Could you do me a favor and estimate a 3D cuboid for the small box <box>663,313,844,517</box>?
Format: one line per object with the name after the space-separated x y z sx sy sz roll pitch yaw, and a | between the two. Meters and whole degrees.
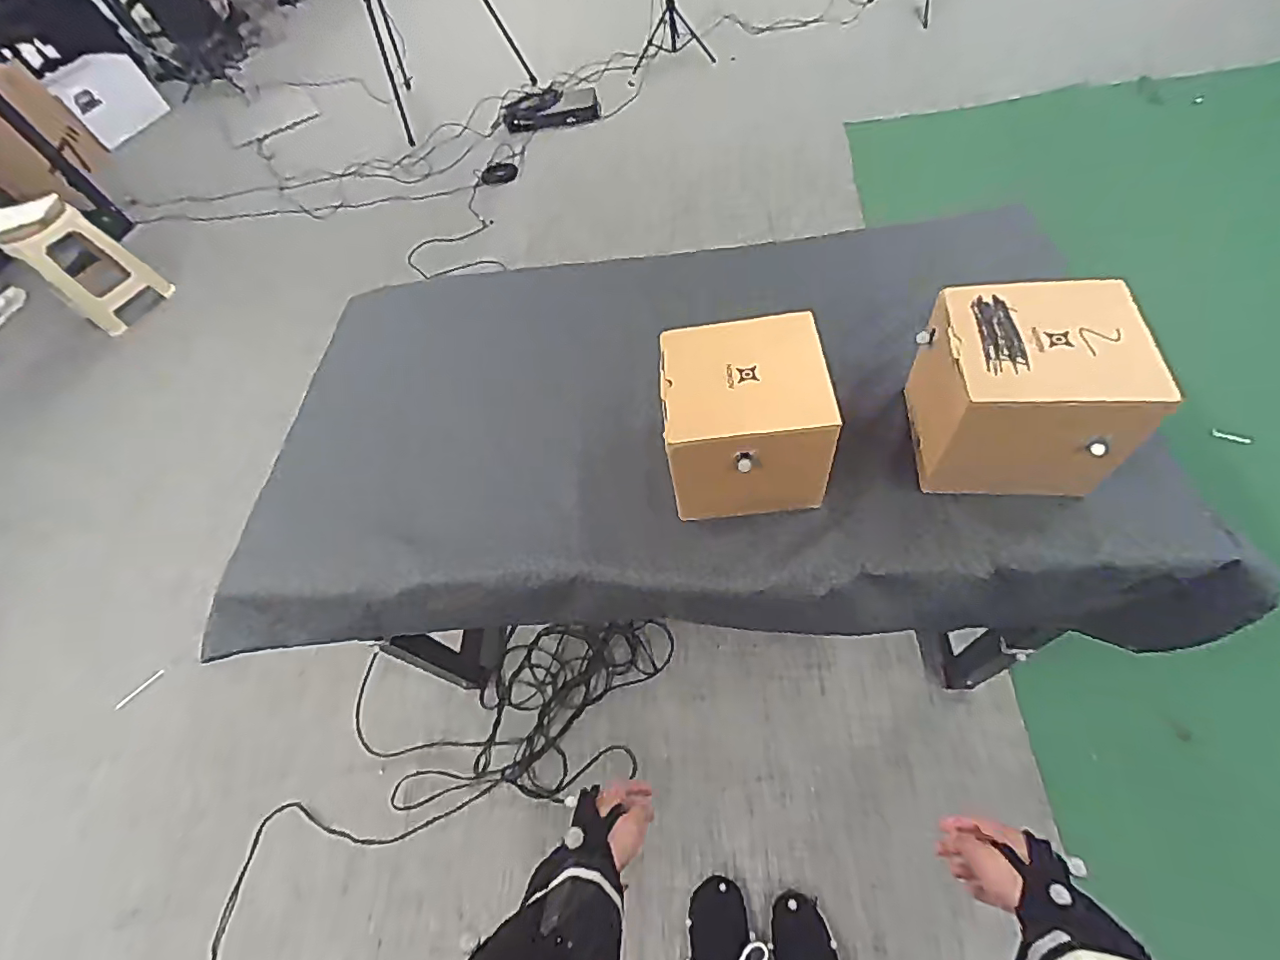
0.126 -0.070 0.644 0.179 0.176 0.168 -6 57 8 | small box
